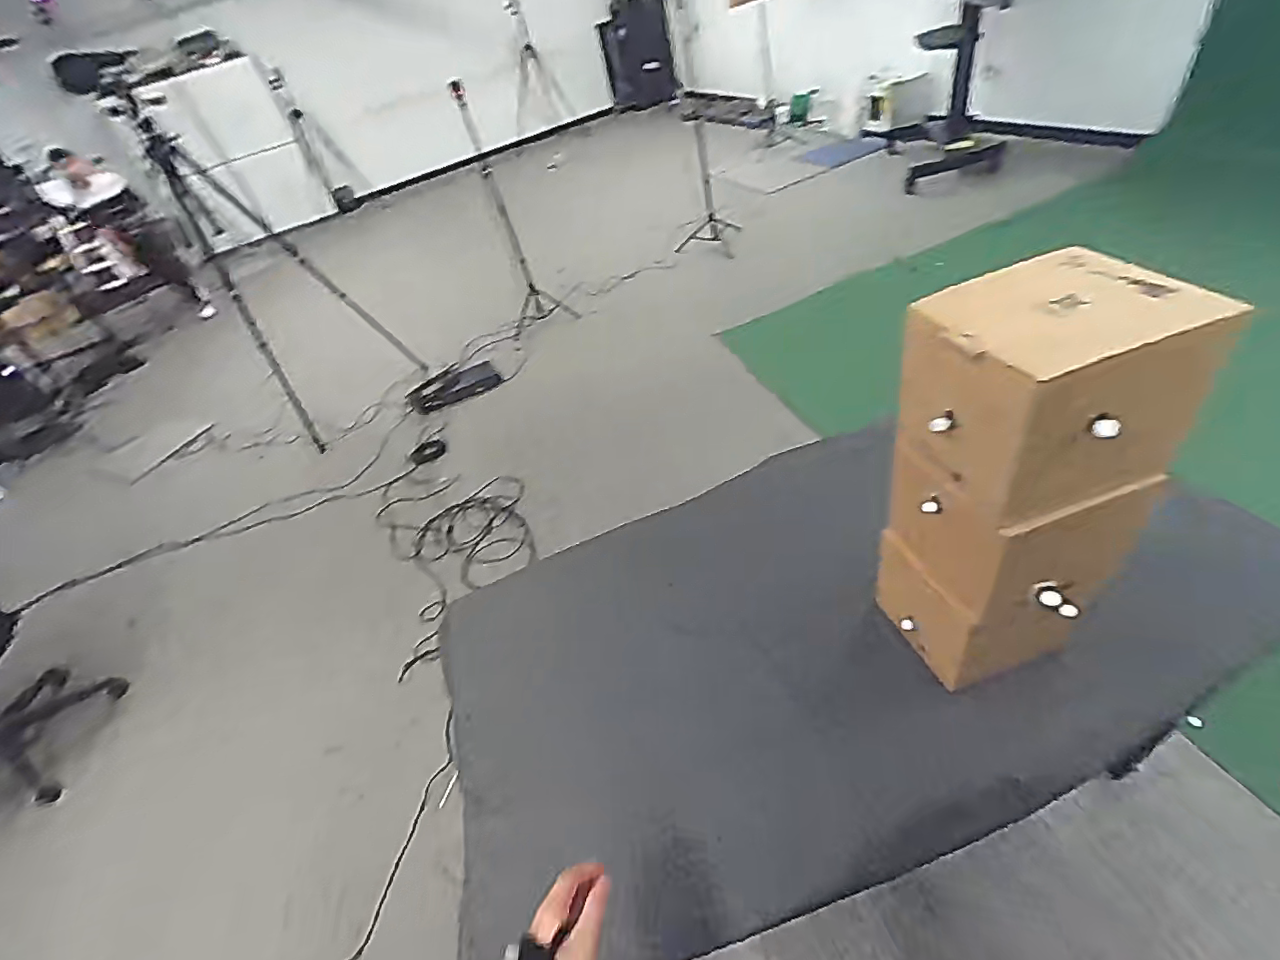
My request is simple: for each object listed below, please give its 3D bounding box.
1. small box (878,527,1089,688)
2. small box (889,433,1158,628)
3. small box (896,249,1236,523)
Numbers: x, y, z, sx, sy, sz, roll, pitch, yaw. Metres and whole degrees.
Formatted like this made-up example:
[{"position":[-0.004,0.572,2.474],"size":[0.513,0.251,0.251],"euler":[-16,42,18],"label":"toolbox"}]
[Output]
[{"position":[0.445,0.146,0.729],"size":[0.179,0.176,0.168],"euler":[-21,40,-3],"label":"small box"},{"position":[0.407,0.034,0.618],"size":[0.168,0.176,0.179],"euler":[-21,42,-1],"label":"small box"},{"position":[0.368,-0.086,0.512],"size":[0.179,0.176,0.168],"euler":[-20,41,0],"label":"small box"}]
